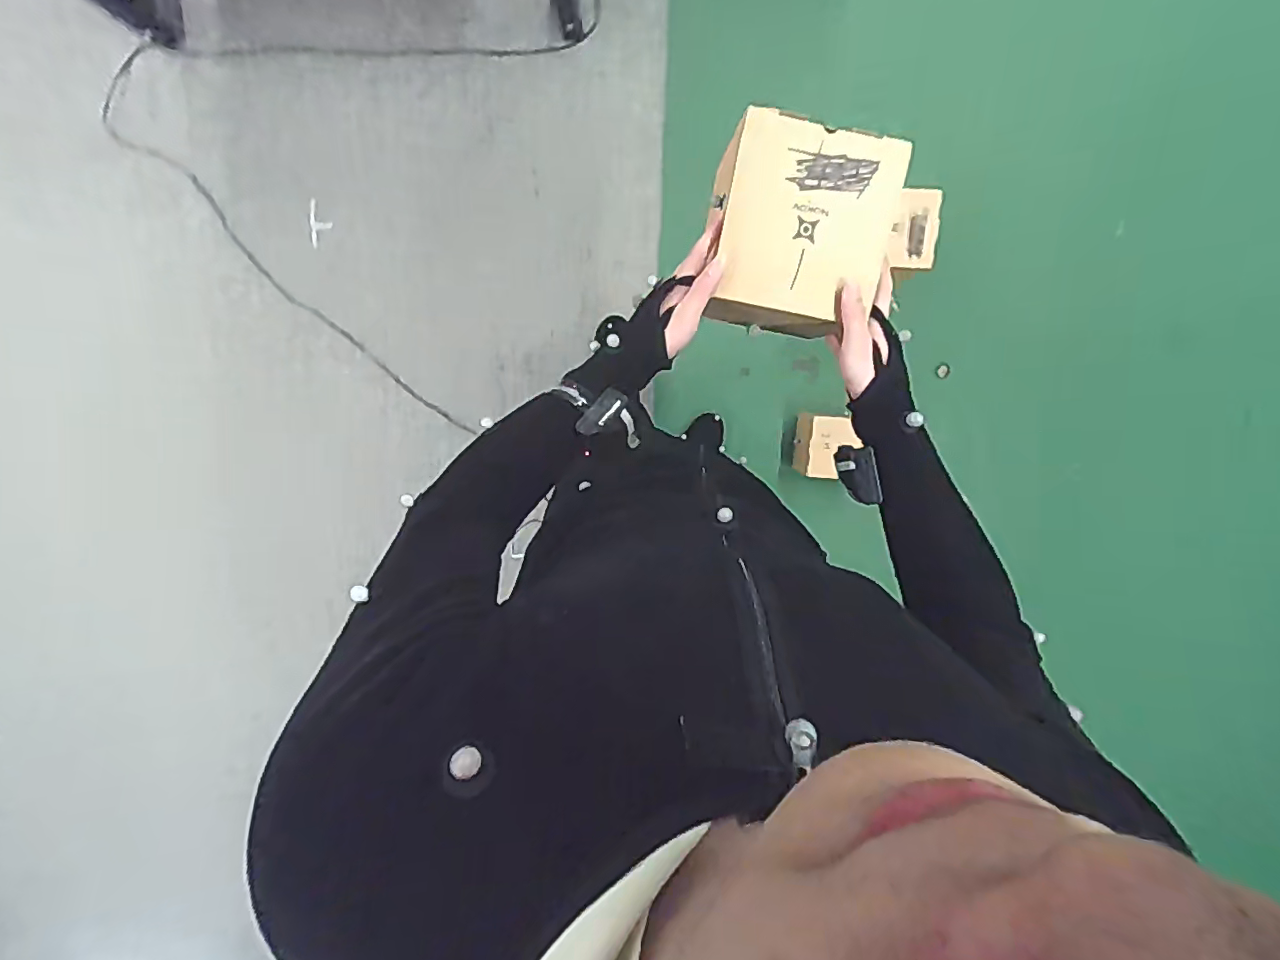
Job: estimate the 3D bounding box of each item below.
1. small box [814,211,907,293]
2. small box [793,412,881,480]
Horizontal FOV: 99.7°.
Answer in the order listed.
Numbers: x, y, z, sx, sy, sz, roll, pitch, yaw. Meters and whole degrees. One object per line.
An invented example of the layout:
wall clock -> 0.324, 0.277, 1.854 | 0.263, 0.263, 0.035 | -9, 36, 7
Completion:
small box -> 0.573, -0.594, 1.426 | 0.179, 0.176, 0.168 | 3, 99, 1
small box -> 0.541, -0.099, 1.506 | 0.179, 0.176, 0.168 | 4, 100, 2
